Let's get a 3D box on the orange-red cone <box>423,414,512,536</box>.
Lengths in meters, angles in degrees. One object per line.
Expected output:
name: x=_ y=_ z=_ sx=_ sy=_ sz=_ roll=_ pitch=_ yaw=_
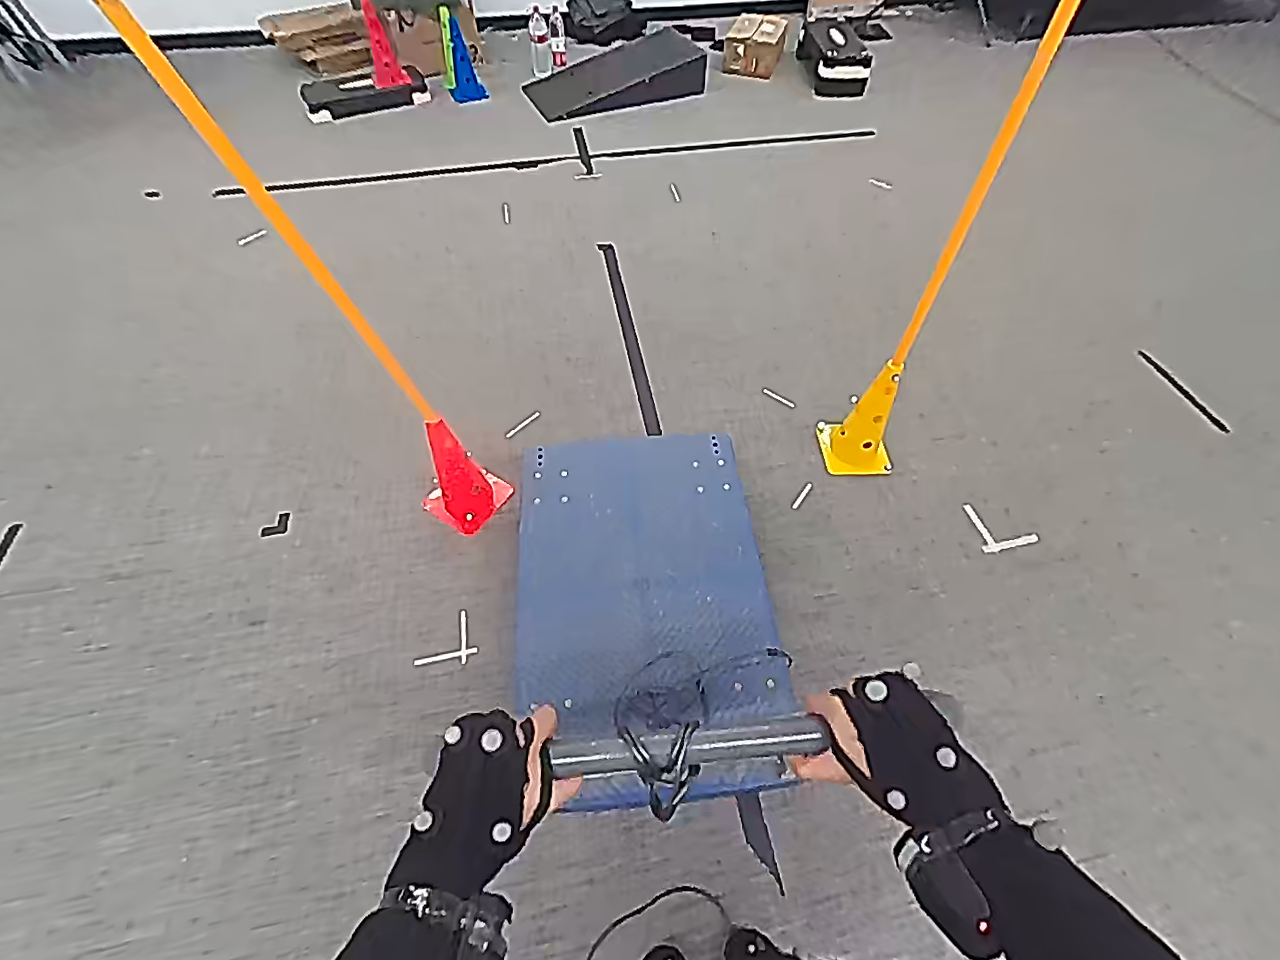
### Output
orange-red cone: x=-0.498 y=-0.045 z=1.441 sx=0.198 sy=0.360 sz=0.199 roll=30 pitch=59 yaw=18
